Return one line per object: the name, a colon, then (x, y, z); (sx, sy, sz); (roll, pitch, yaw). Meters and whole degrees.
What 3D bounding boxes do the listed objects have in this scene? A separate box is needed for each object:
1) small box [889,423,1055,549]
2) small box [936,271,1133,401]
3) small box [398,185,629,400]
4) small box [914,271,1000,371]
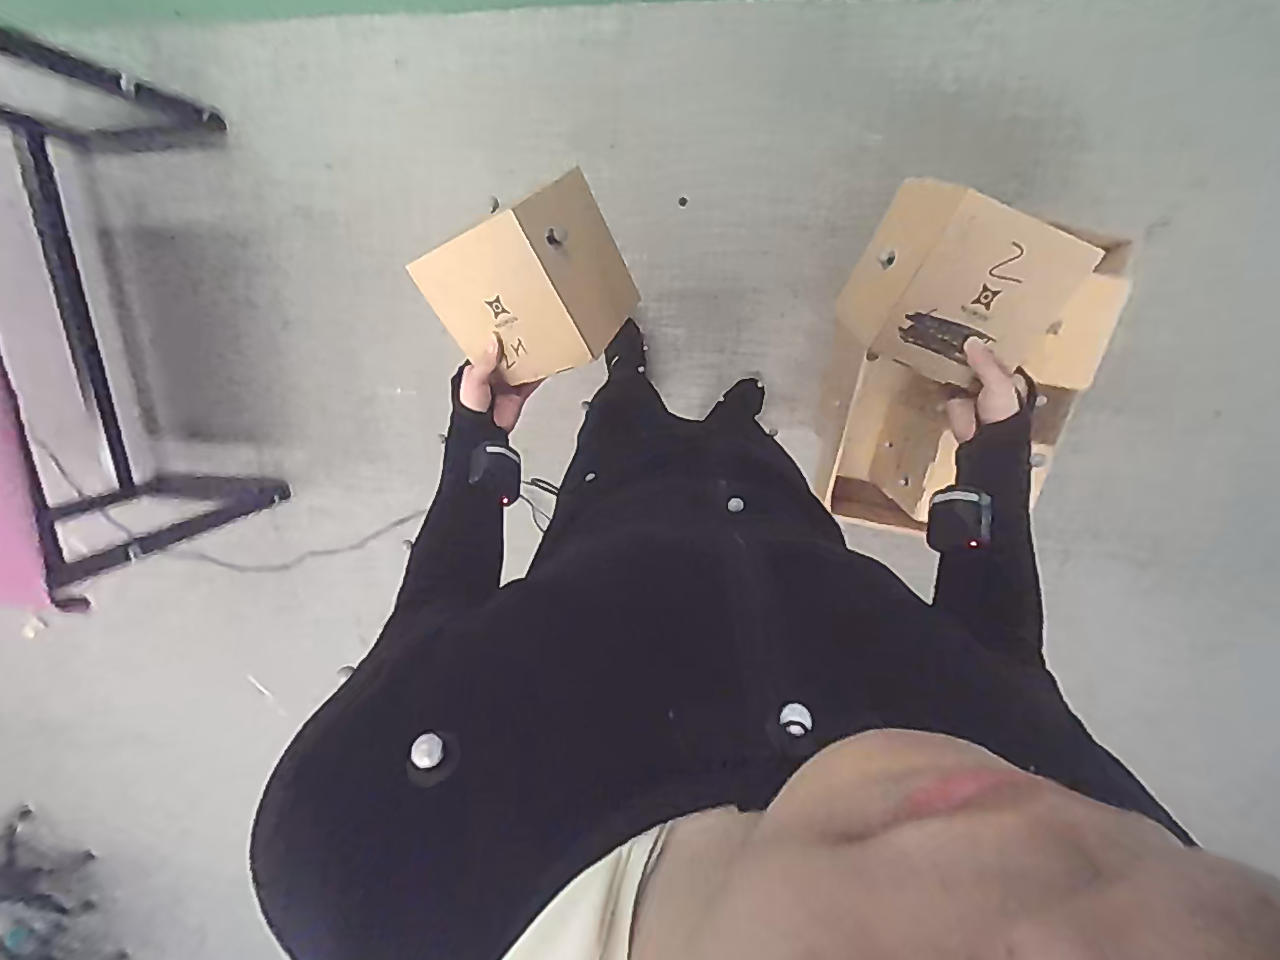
small box: (0.570, 0.001, 0.961); (0.179, 0.176, 0.168); (12, 107, 5)
small box: (0.628, -0.238, 0.888); (0.179, 0.176, 0.168); (12, 108, 5)
small box: (-0.138, -0.228, 0.649); (0.168, 0.176, 0.179); (-10, 126, 31)
small box: (0.656, -0.289, 1.041); (0.168, 0.176, 0.179); (13, 107, 5)
